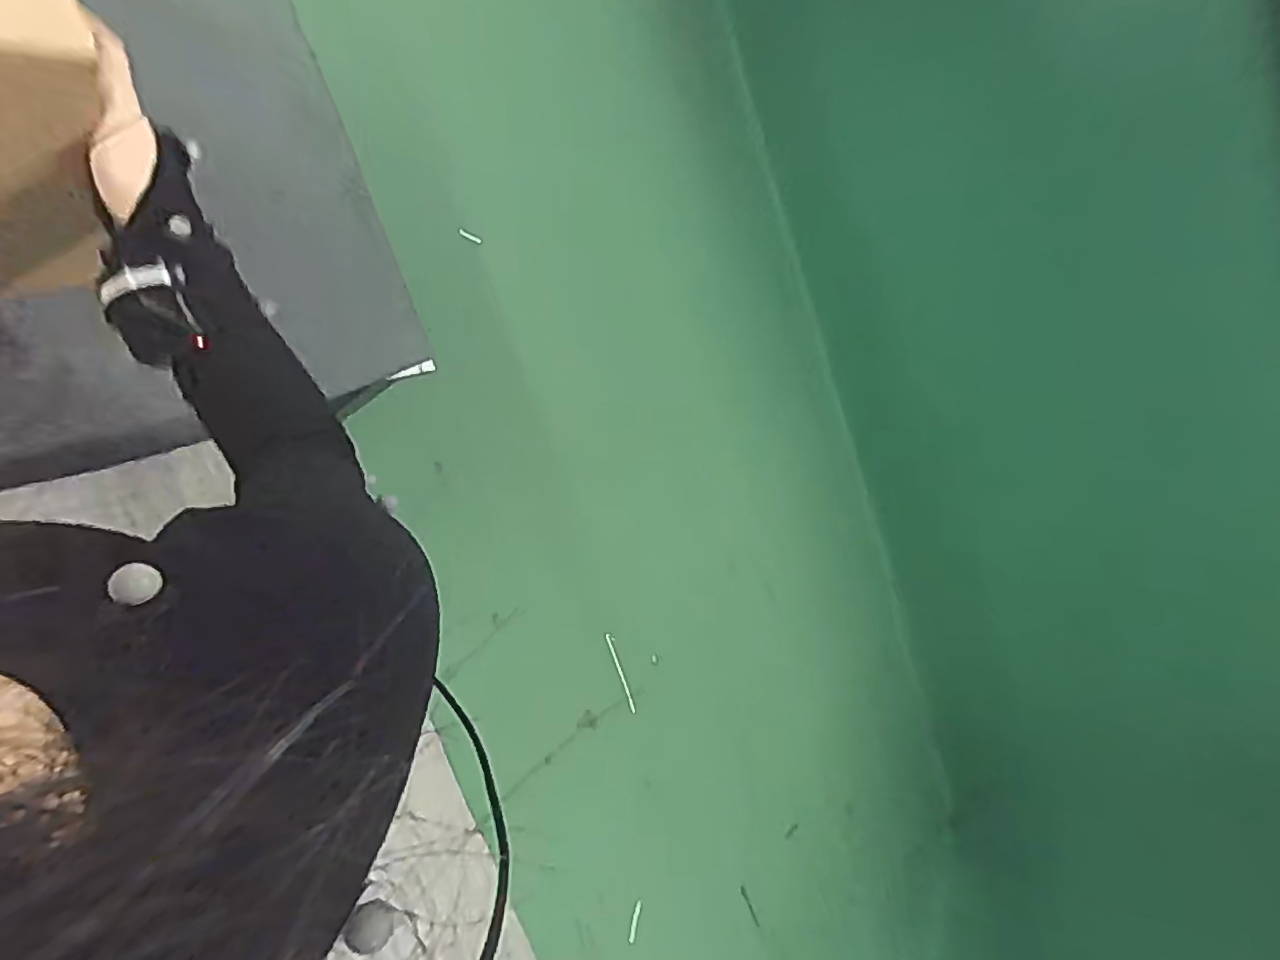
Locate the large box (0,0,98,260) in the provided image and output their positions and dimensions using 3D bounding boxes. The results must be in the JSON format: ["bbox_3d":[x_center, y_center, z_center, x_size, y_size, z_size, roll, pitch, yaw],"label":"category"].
[{"bbox_3d":[-0.604,-0.310,0.265,0.408,0.320,0.320,-31,102,-45],"label":"large box"}]
